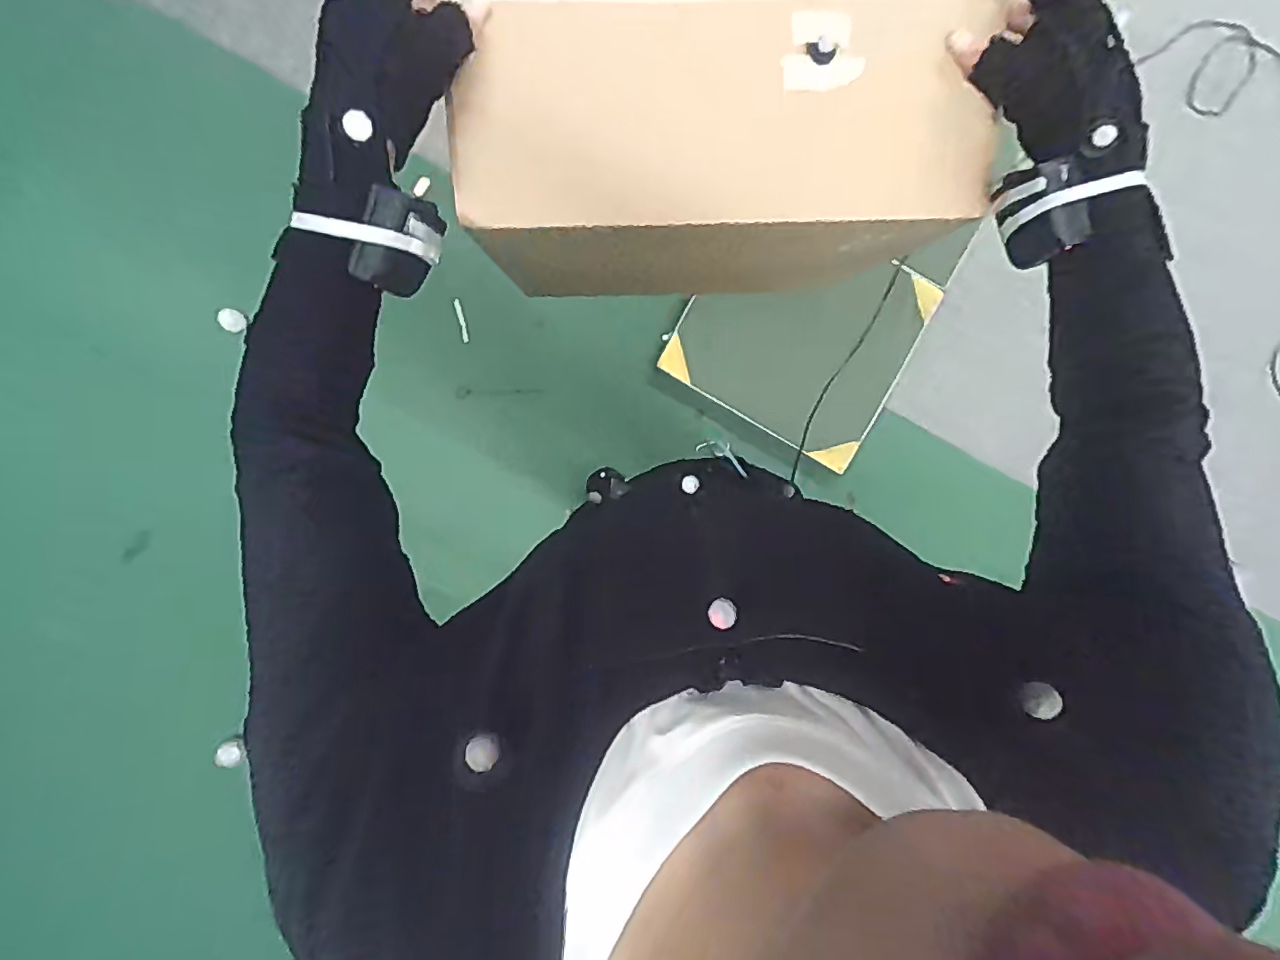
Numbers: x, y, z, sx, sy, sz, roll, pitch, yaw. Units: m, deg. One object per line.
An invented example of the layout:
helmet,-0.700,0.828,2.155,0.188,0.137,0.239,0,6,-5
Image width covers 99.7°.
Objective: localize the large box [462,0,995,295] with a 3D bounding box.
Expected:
large box,0.057,-0.379,0.542,0.408,0.320,0.320,-3,100,-4
